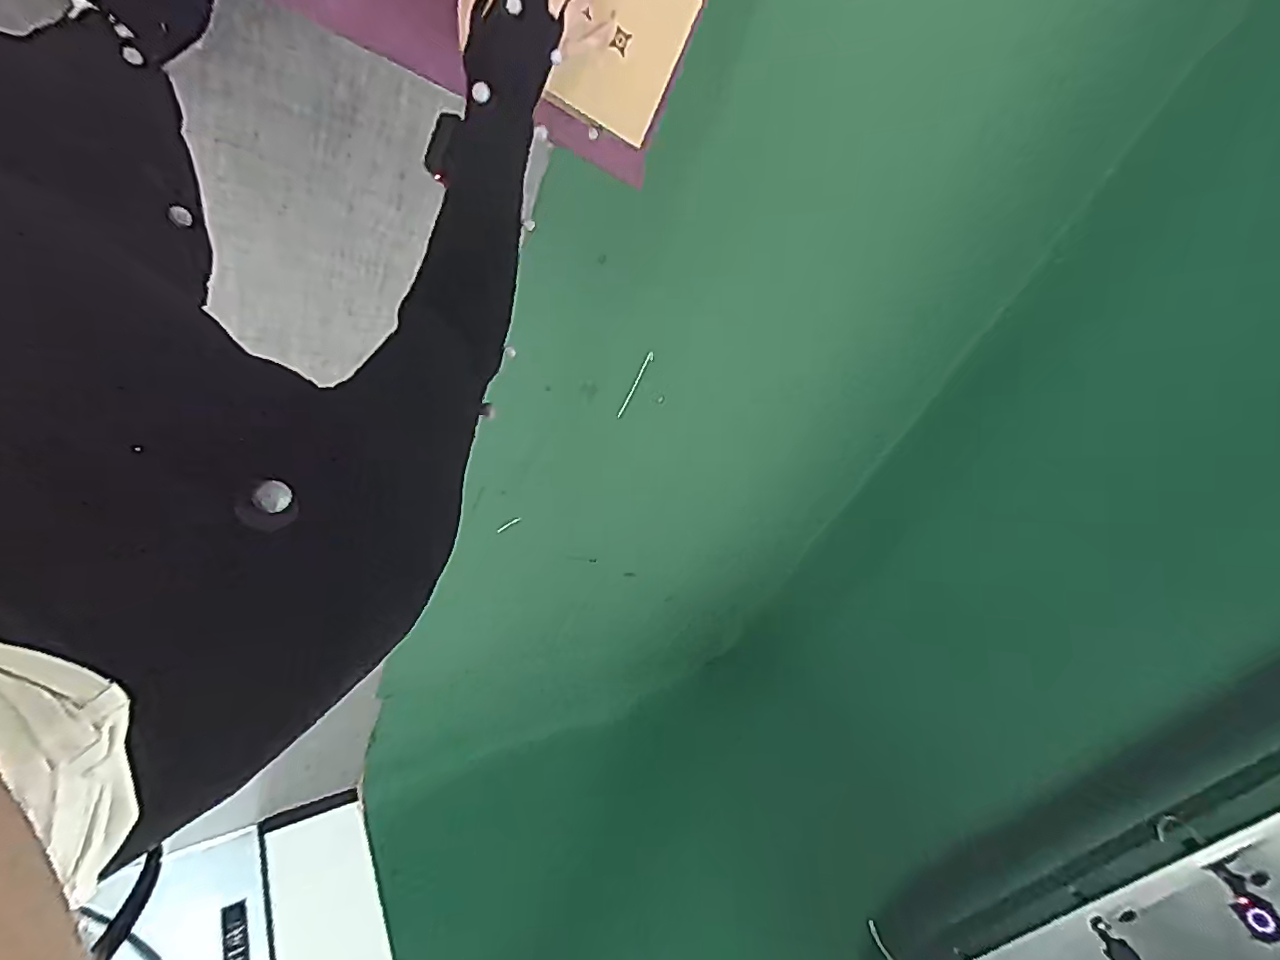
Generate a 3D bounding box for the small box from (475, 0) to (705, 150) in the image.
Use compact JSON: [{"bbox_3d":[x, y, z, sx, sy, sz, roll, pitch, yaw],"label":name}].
[{"bbox_3d":[-0.065,-0.531,0.633,0.179,0.176,0.168,5,125,-43],"label":"small box"}]
